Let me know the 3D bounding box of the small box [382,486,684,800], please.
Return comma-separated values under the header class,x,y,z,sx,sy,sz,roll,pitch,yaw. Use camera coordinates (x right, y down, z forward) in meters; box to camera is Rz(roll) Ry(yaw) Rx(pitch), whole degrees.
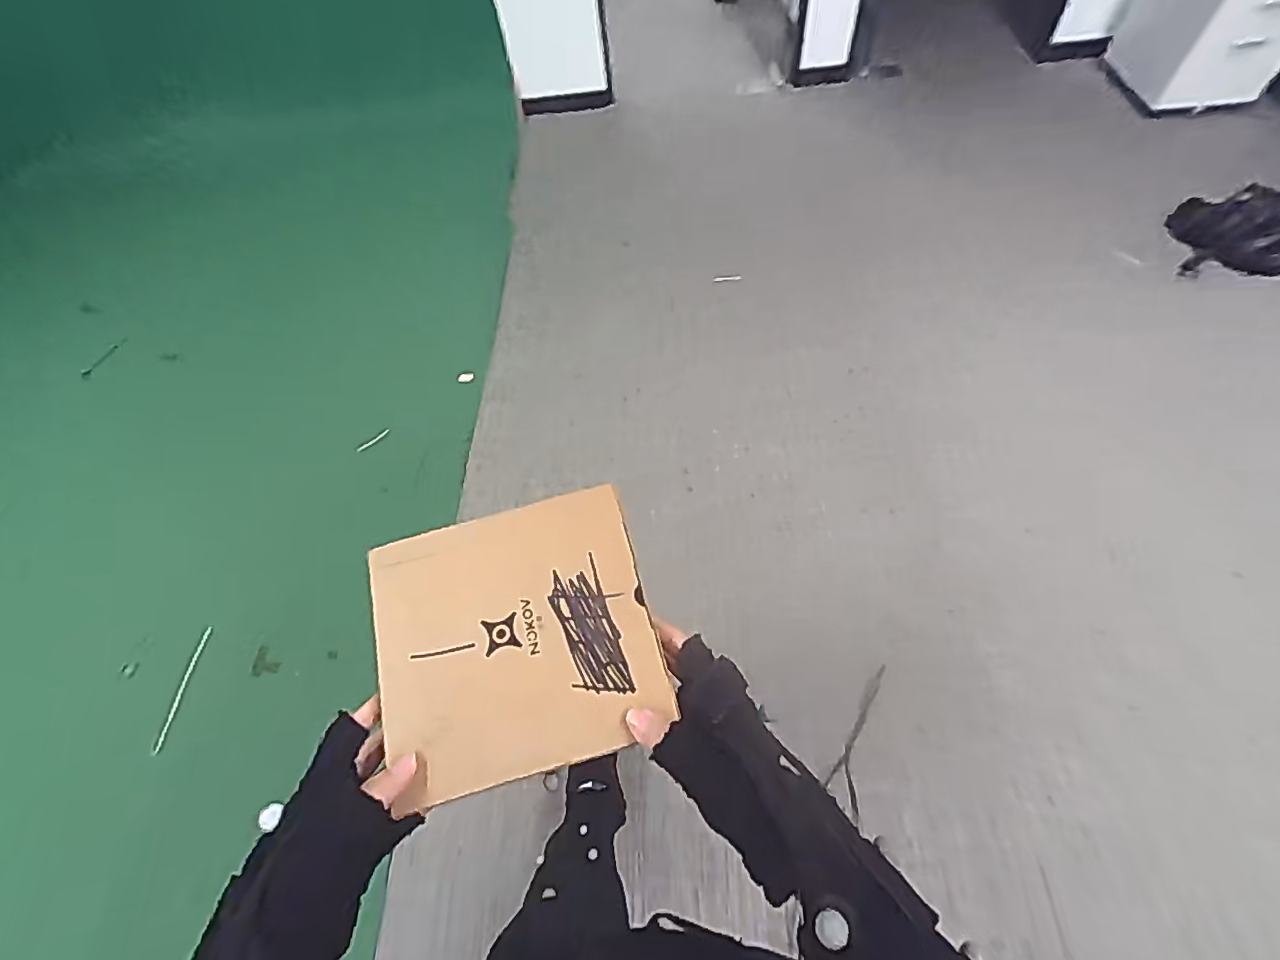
class,x,y,z,sx,sy,sz,roll,pitch,yaw
small box,-0.073,0.126,0.425,0.179,0.176,0.168,-15,67,-3
